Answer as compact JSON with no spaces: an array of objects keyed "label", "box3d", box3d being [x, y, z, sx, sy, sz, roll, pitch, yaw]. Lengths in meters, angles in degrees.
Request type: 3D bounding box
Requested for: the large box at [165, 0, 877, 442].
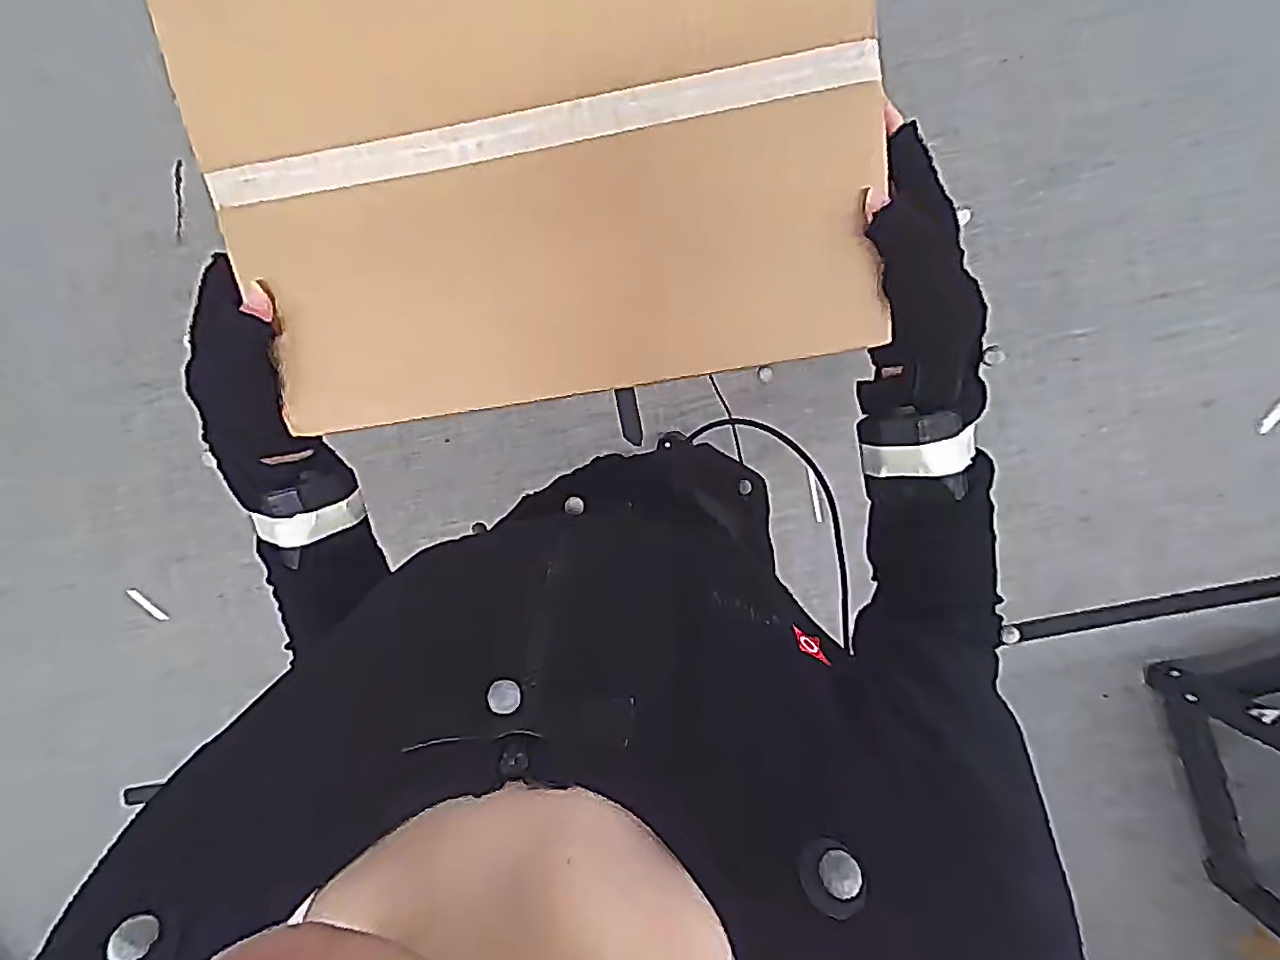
[{"label":"large box","box3d":[-0.058,-0.242,0.475,0.408,0.320,0.320,-9,103,4]}]
